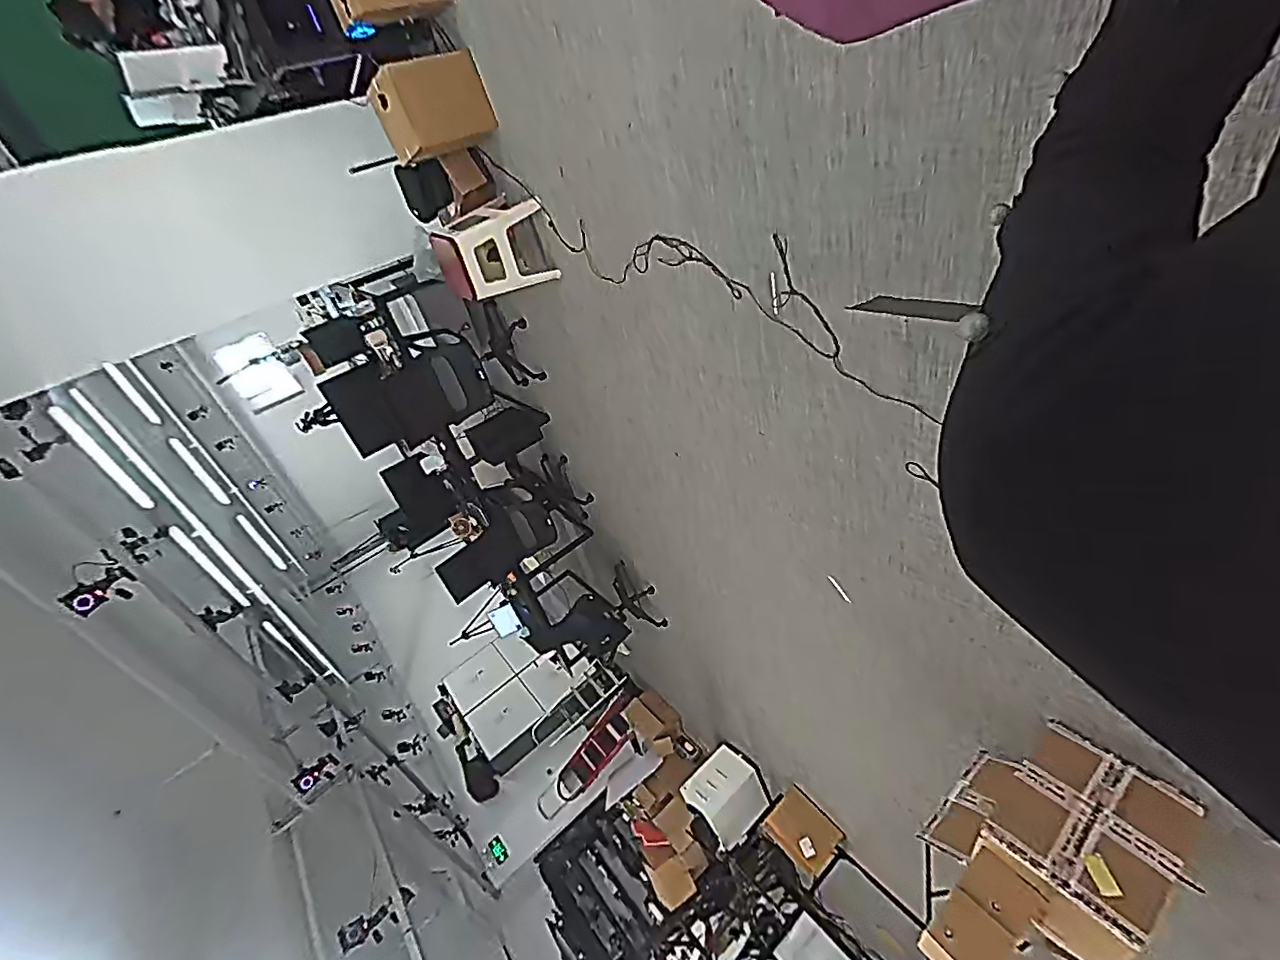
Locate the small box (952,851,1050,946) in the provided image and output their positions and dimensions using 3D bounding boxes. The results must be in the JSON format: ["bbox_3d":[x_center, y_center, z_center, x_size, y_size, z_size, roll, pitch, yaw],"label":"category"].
[{"bbox_3d":[1.085,1.272,1.627,0.179,0.176,0.168,36,148,43],"label":"small box"}]

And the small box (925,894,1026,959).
[{"bbox_3d":[0.954,1.333,1.545,0.179,0.176,0.168,33,146,45],"label":"small box"}]
